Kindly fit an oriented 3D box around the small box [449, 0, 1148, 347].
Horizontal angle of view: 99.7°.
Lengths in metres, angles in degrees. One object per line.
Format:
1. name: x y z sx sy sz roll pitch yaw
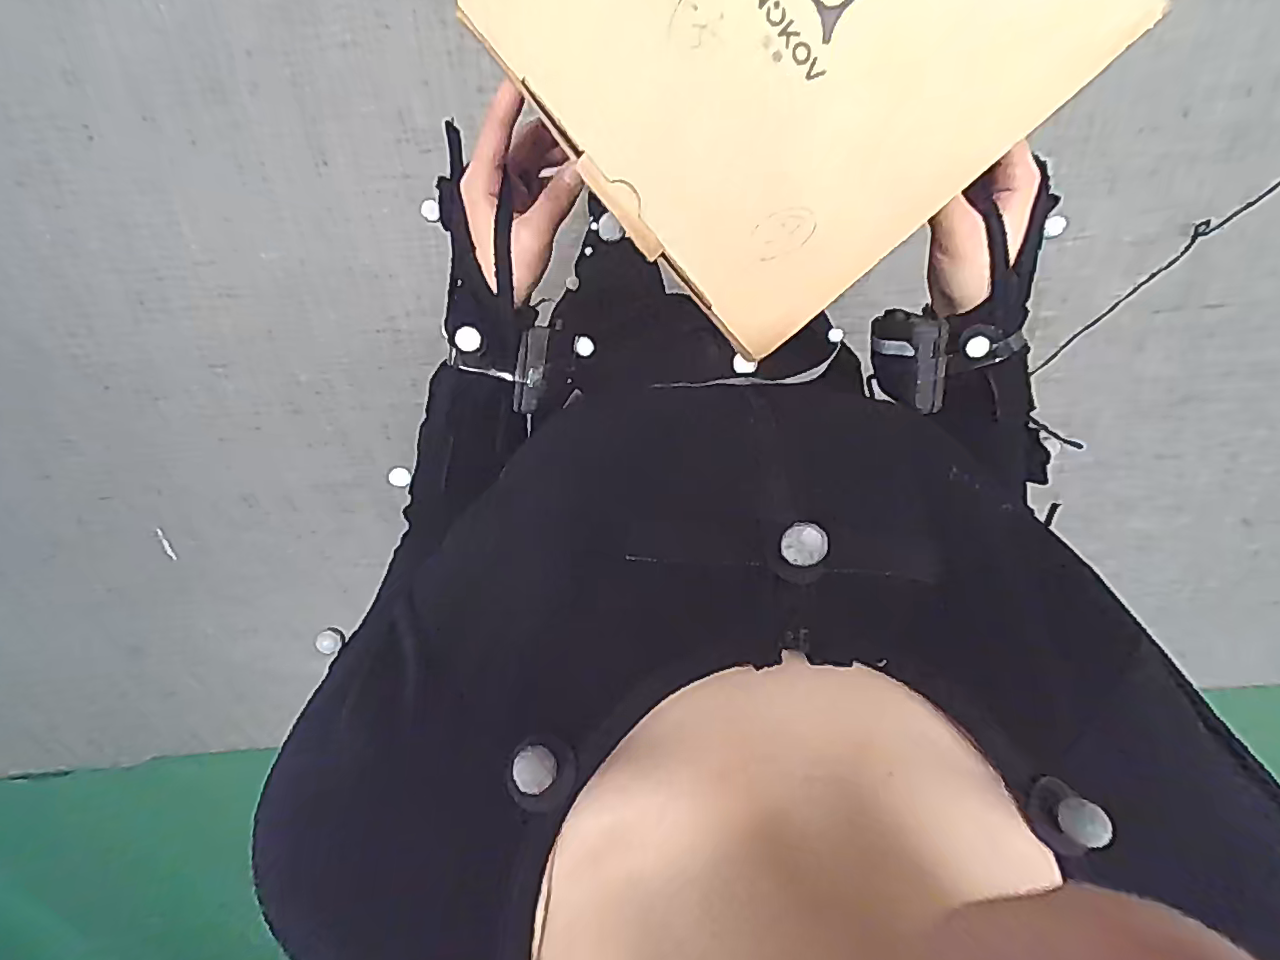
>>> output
1. small box: 0.053 -0.193 0.251 0.179 0.176 0.168 -39 108 17
